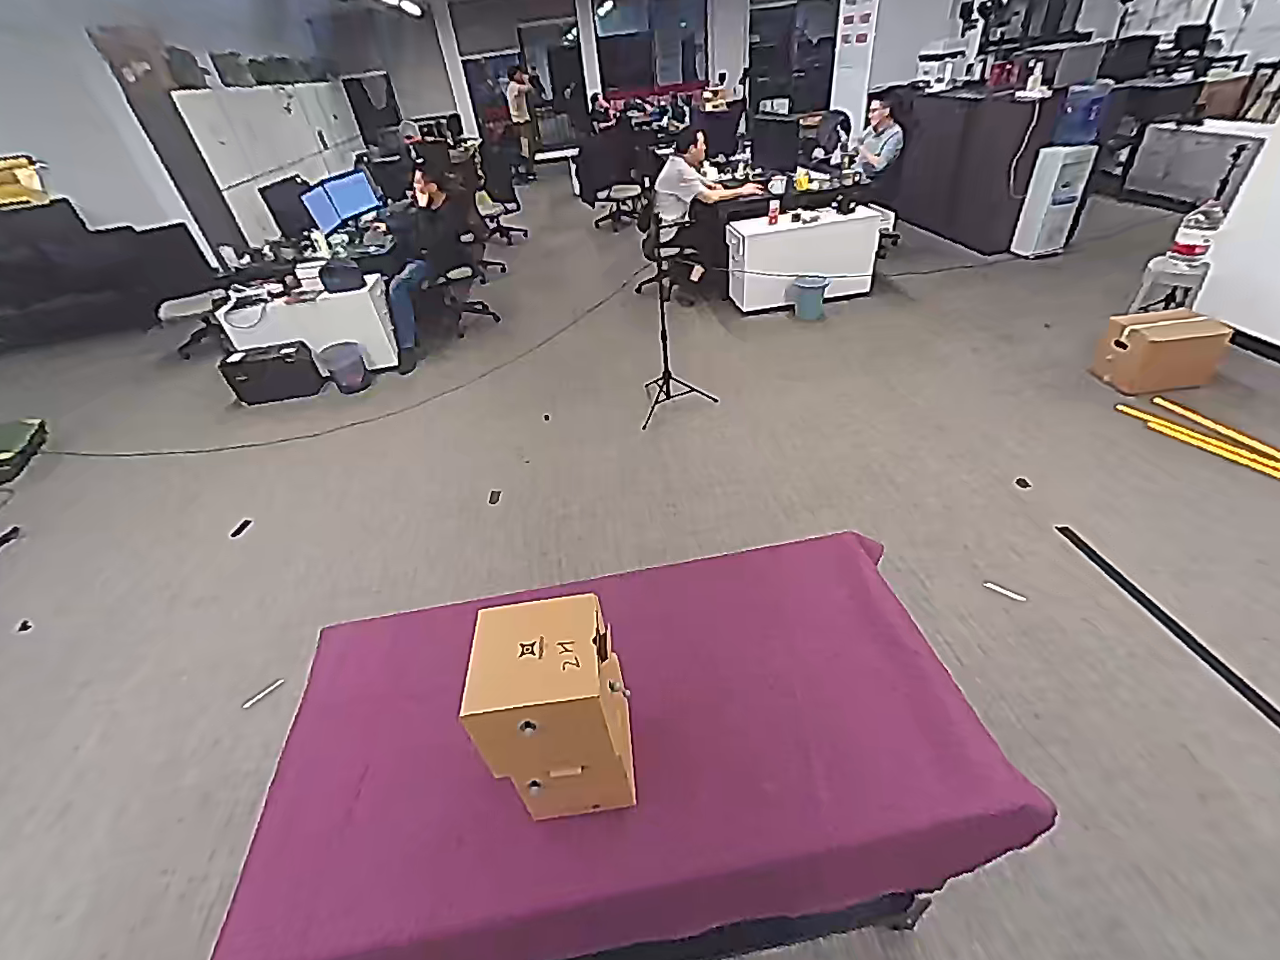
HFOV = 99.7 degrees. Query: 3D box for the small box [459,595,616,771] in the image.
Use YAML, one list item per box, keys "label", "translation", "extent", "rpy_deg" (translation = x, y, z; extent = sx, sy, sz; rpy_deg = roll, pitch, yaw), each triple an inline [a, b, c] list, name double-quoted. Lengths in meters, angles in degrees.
- label: "small box"
  translation: [-0.133, 0.291, 0.771]
  extent: [0.179, 0.176, 0.168]
  rpy_deg: [-7, 38, 0]
